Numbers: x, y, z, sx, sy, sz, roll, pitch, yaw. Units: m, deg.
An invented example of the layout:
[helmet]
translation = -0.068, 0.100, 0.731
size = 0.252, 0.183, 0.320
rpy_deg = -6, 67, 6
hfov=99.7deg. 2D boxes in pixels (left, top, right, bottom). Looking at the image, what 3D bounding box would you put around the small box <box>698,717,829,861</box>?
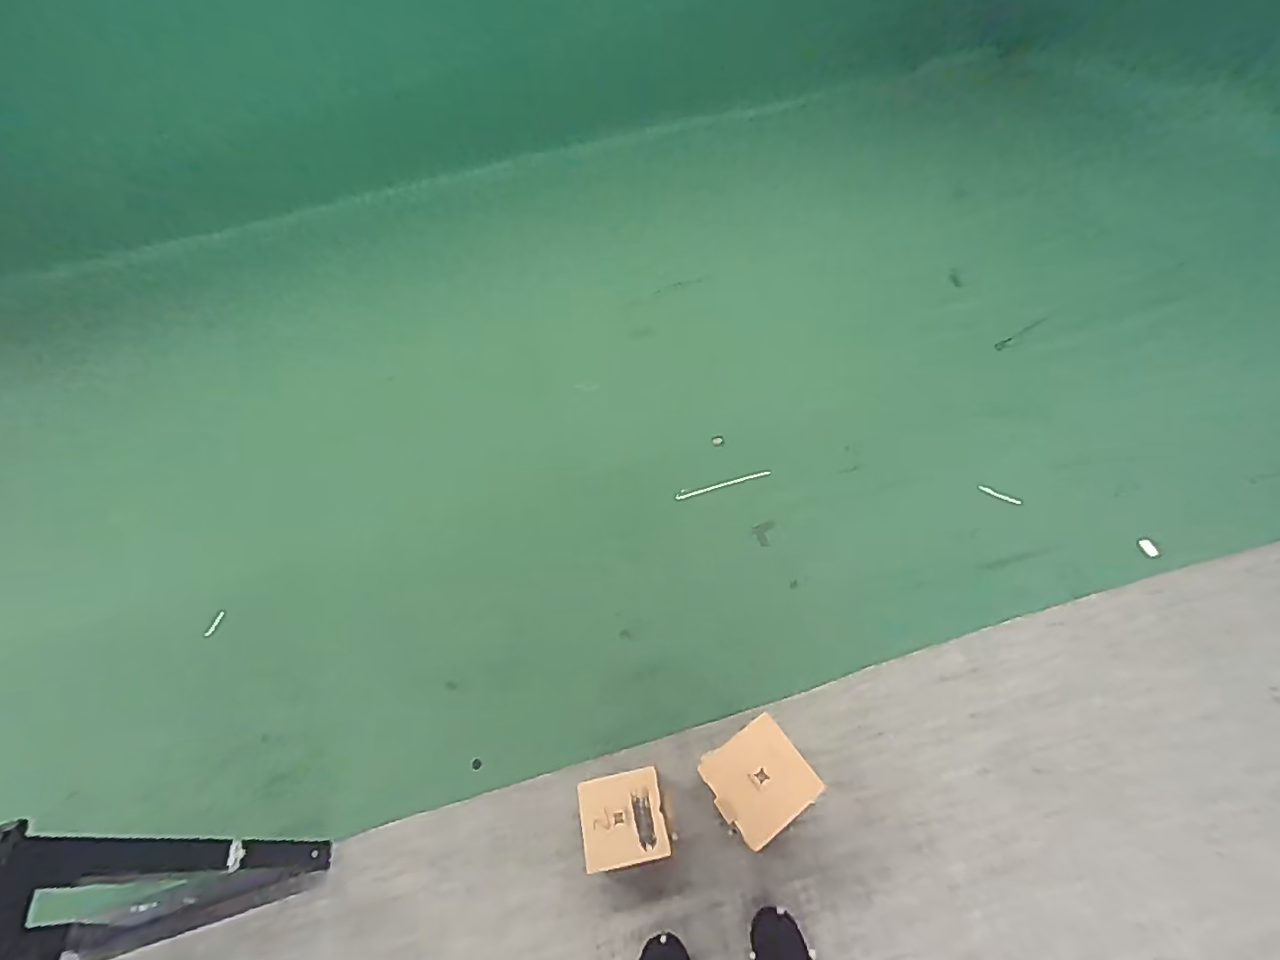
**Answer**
[small box]
translation = 0.230, 0.595, 1.041
size = 0.179, 0.176, 0.168
rpy_deg = -32, 60, -15
